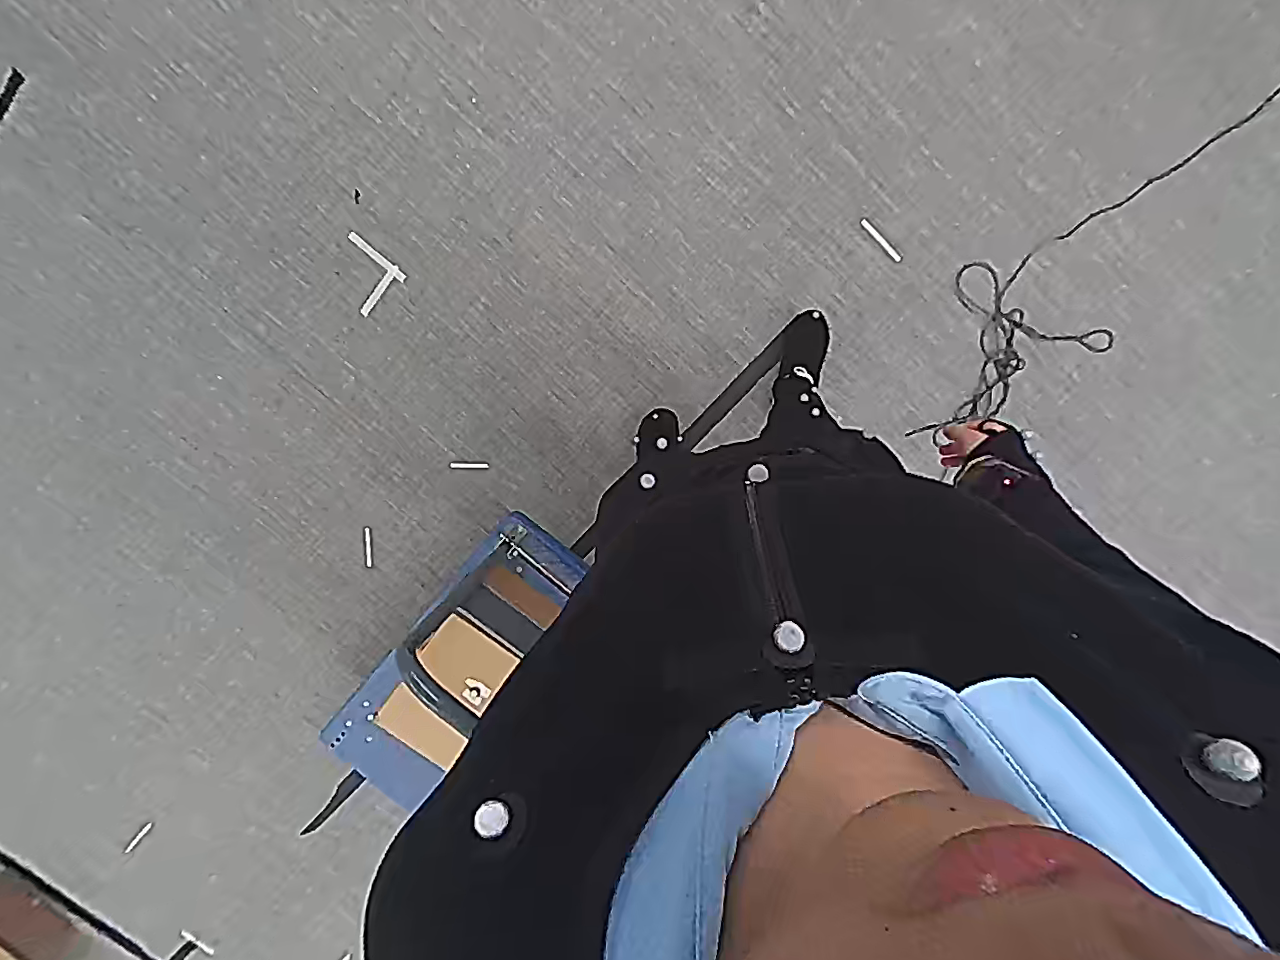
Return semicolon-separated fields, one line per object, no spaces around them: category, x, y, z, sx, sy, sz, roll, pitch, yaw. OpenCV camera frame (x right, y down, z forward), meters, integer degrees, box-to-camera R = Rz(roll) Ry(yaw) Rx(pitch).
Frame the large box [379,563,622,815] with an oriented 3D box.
large box;-0.297;0.467;1.273;0.408;0.320;0.320;37;99;-4
